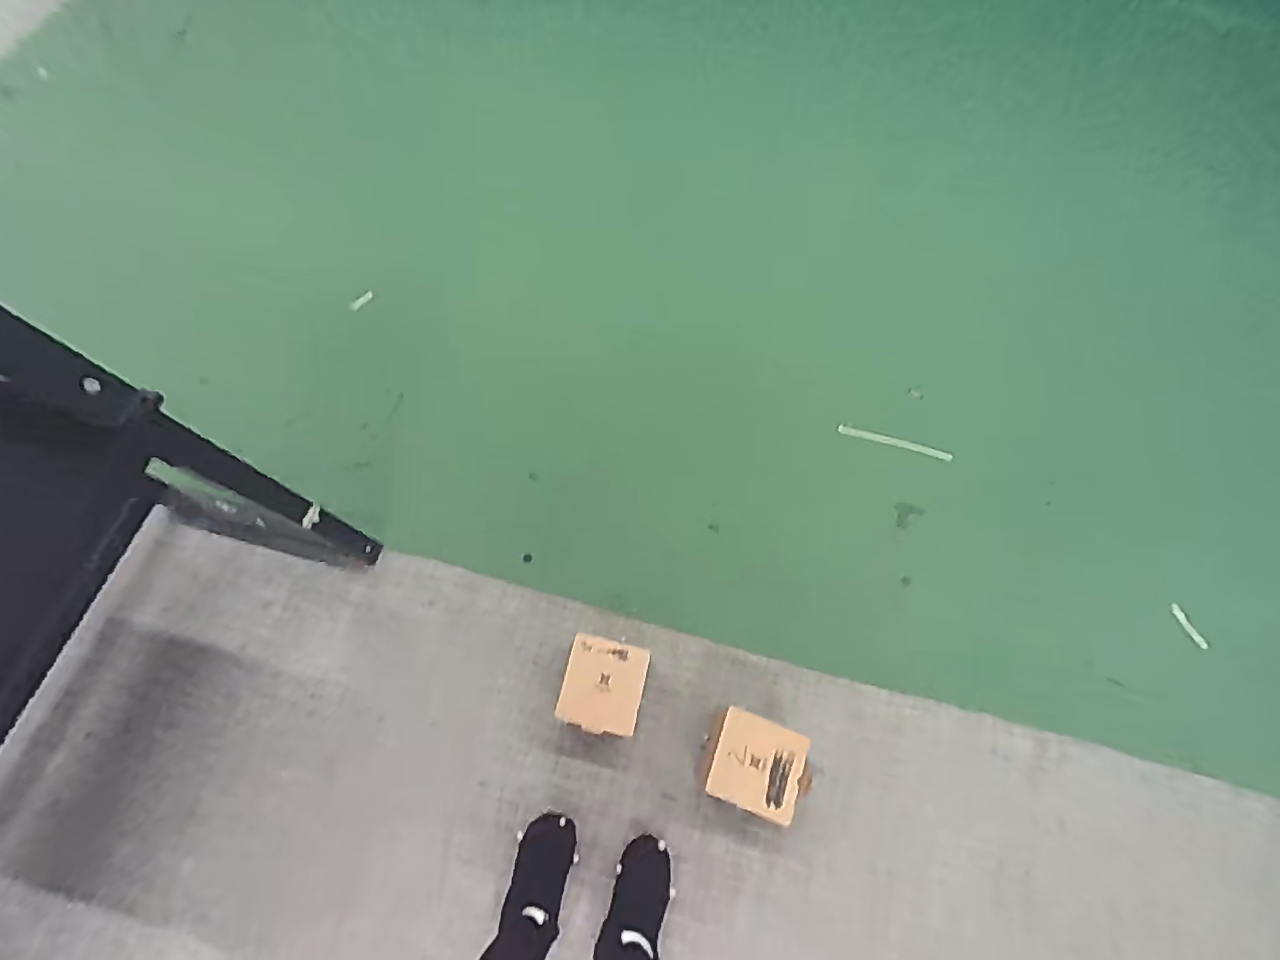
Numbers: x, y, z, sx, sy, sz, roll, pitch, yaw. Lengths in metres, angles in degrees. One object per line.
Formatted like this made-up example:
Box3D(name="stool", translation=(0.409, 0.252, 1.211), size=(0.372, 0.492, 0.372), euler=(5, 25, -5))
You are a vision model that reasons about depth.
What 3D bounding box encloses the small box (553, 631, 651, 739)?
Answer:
Box3D(name="small box", translation=(-0.075, 0.441, 1.170), size=(0.168, 0.176, 0.179), euler=(13, 69, 4))
